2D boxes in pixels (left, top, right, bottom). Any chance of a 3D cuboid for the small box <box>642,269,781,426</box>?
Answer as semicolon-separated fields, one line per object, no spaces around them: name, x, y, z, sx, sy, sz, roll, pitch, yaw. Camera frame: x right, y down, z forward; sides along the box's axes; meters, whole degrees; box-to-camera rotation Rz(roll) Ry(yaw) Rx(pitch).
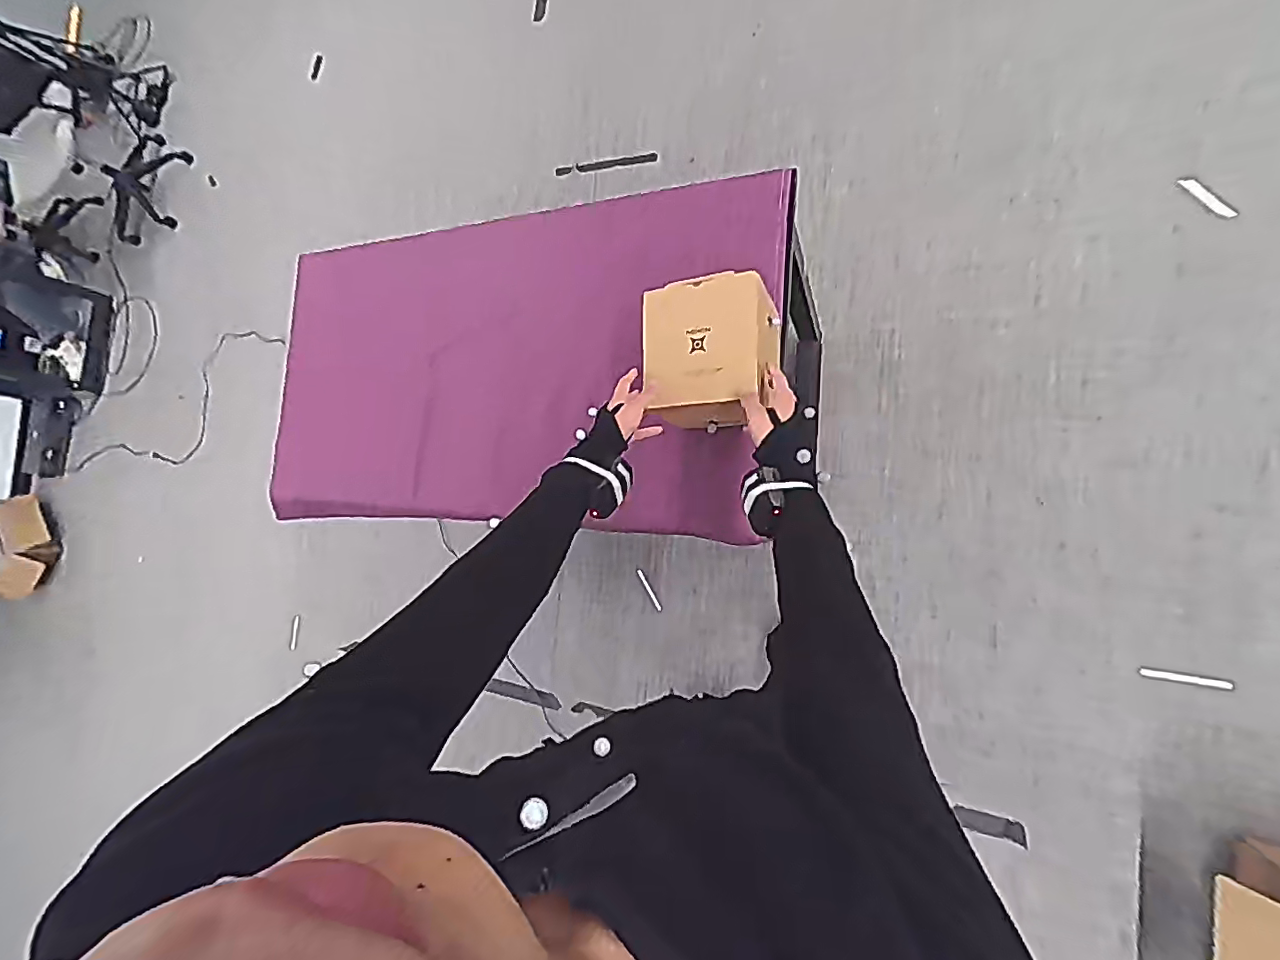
small box;0.113;-0.186;0.812;0.168;0.176;0.179;-1;84;25
